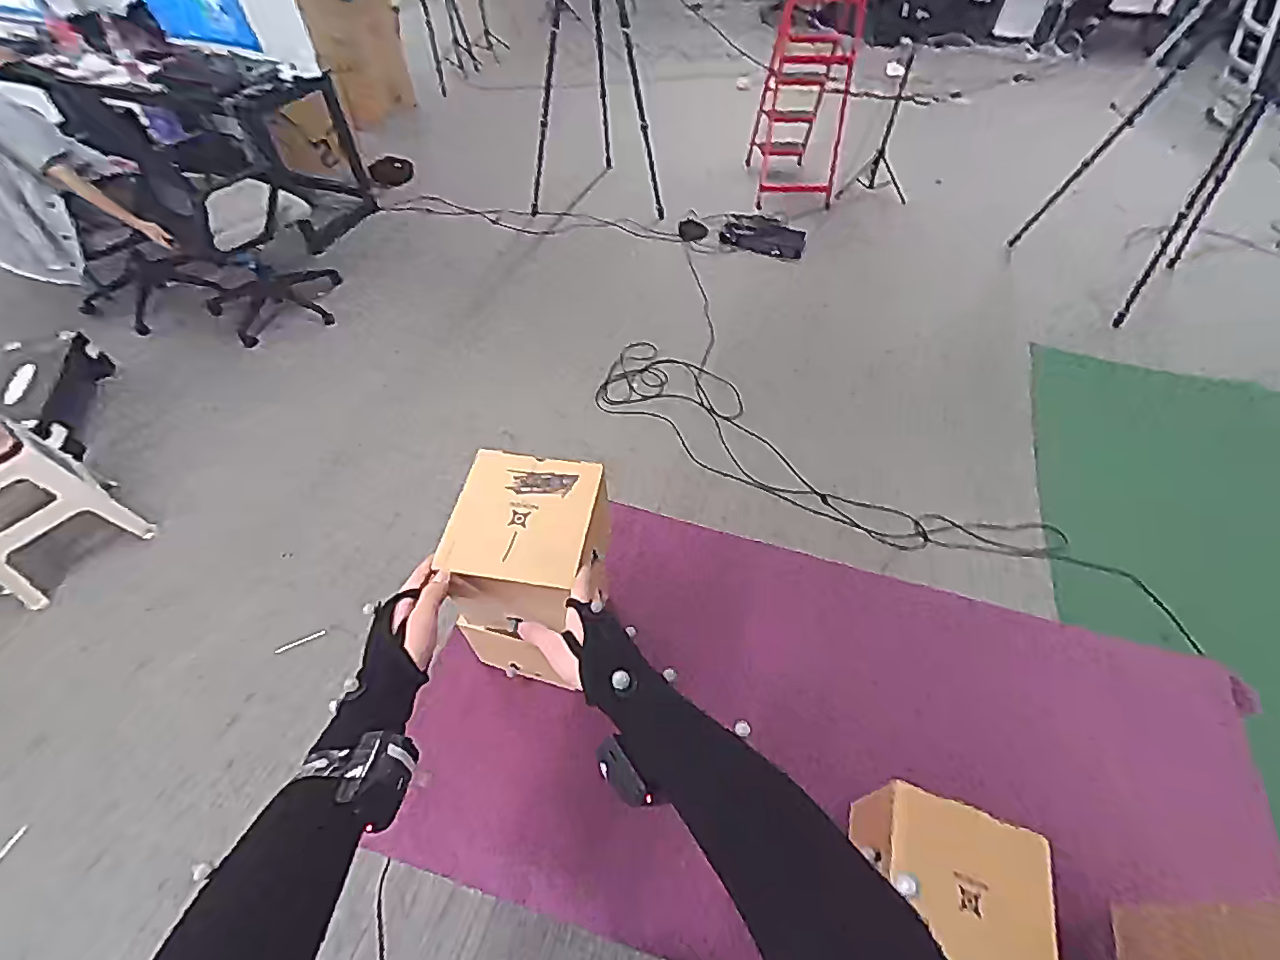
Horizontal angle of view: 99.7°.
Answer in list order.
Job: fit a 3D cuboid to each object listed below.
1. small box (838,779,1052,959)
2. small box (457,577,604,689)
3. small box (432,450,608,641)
[{"bbox_3d":[0.343,0.490,0.632,0.168,0.176,0.179,16,51,13],"label":"small box"},{"bbox_3d":[-0.160,0.204,0.862,0.168,0.176,0.179,12,53,10],"label":"small box"},{"bbox_3d":[-0.137,0.087,0.700,0.168,0.176,0.179,7,56,6],"label":"small box"}]
